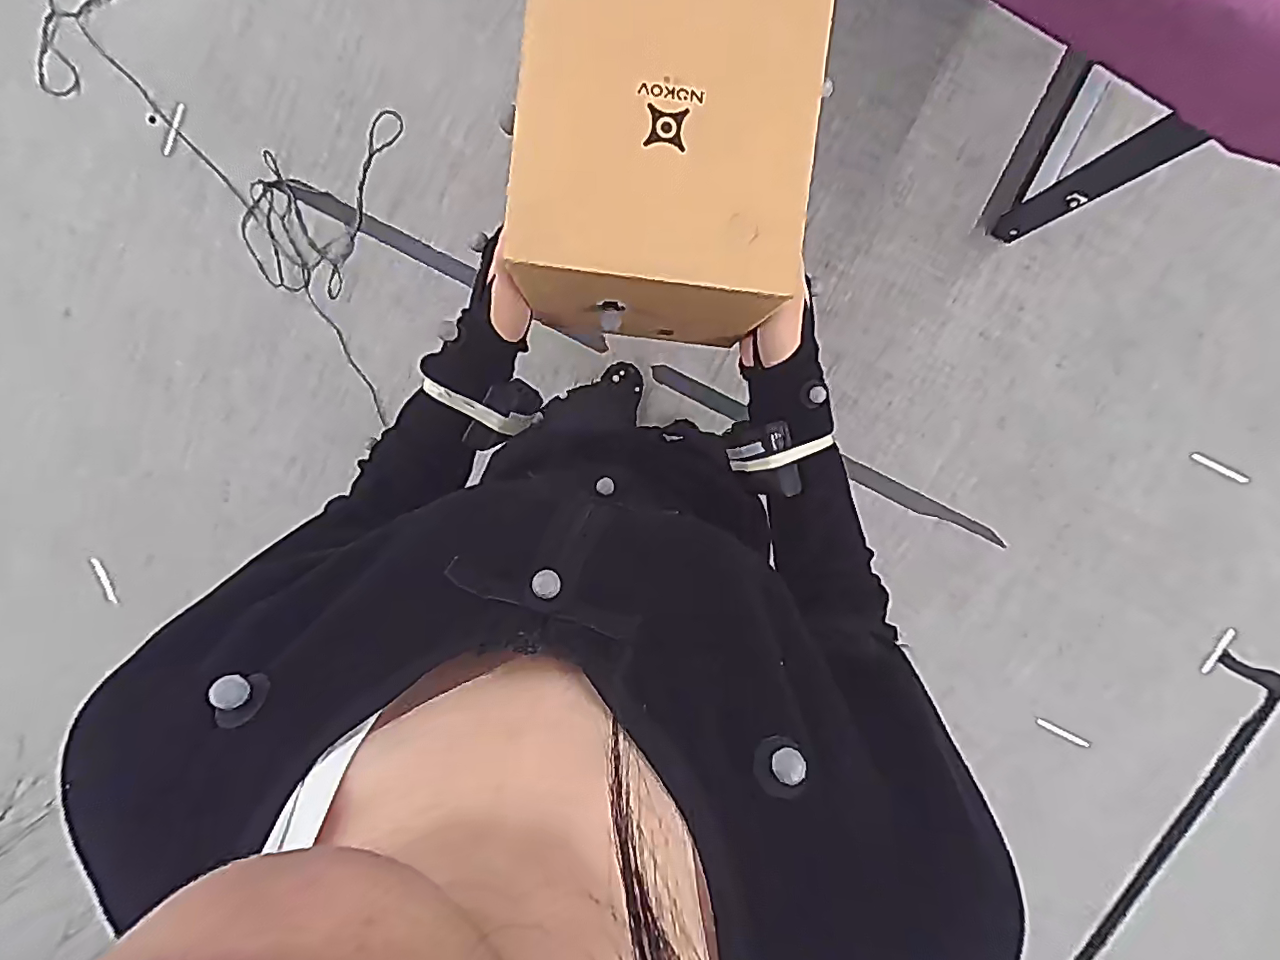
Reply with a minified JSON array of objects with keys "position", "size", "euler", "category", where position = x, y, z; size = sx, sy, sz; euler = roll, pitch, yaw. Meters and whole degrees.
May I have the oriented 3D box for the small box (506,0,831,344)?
[{"position":[0.012,-0.202,0.380],"size":[0.168,0.176,0.179],"euler":[6,92,-3],"category":"small box"}]
